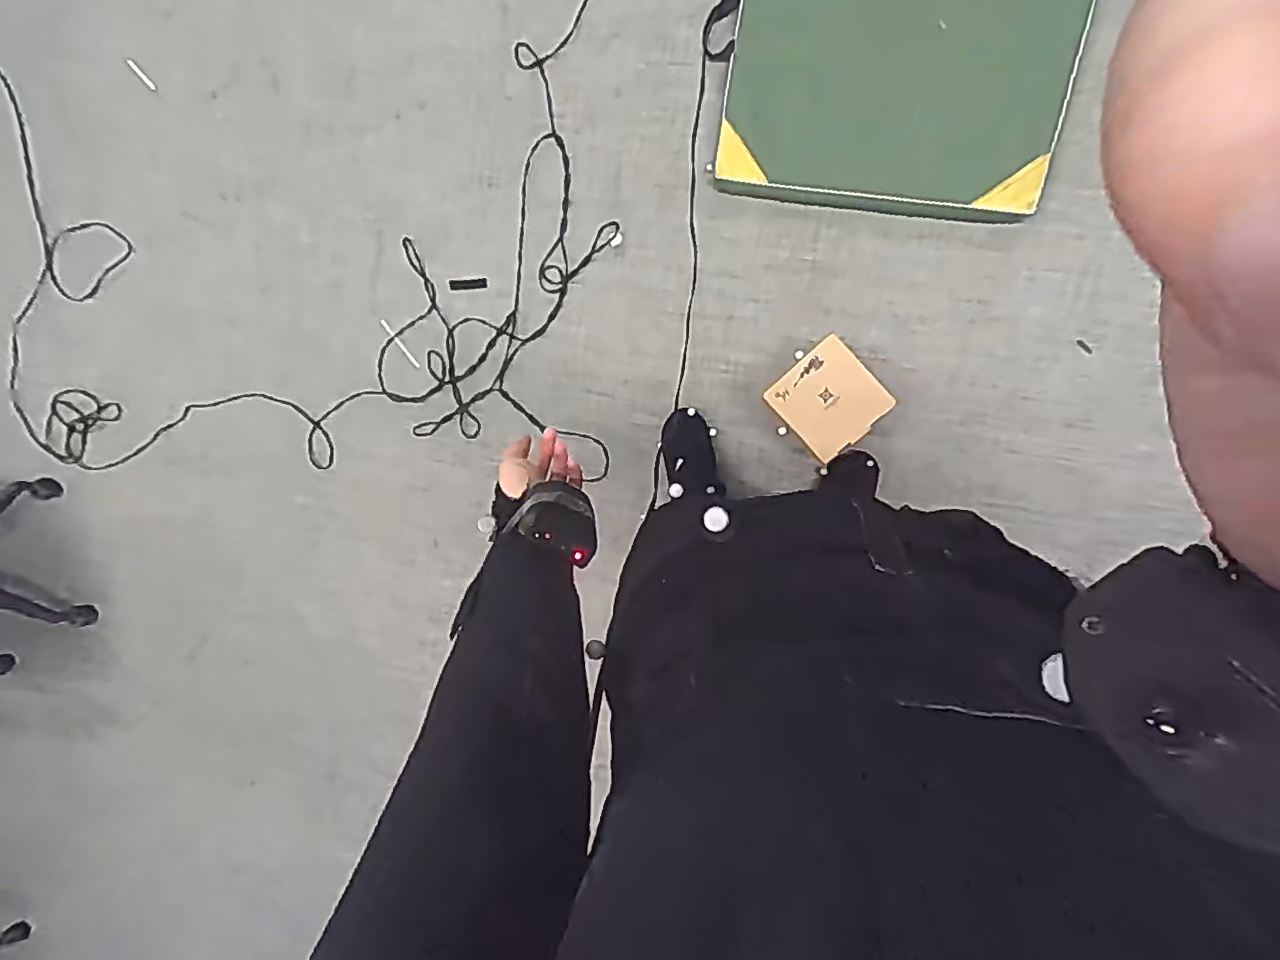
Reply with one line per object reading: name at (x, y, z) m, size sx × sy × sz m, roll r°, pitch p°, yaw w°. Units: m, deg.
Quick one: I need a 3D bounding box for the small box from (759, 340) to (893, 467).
small box at (0.354, -0.151, 1.063) m, size 0.168 × 0.176 × 0.179 m, roll -42°, pitch 90°, yaw 12°
